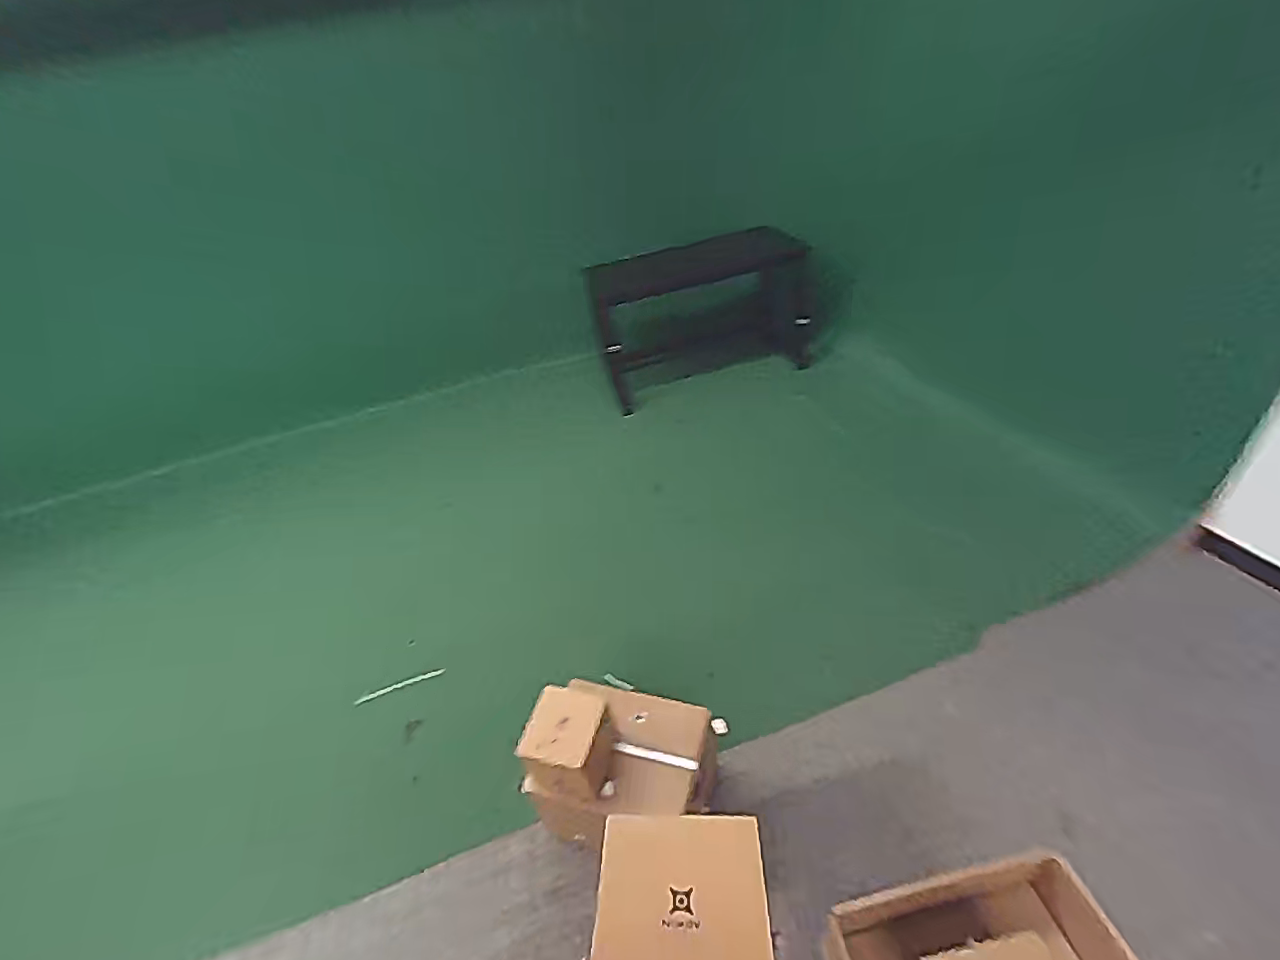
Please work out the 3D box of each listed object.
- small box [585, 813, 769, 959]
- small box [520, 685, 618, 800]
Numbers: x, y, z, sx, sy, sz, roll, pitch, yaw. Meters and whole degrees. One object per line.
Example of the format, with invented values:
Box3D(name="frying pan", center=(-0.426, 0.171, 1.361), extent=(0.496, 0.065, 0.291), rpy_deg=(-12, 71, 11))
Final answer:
Box3D(name="small box", center=(0.038, 0.475, 0.549), extent=(0.168, 0.176, 0.179), rpy_deg=(-2, 28, 4))
Box3D(name="small box", center=(-0.161, 0.633, 1.305), extent=(0.168, 0.176, 0.179), rpy_deg=(4, 41, 19))
